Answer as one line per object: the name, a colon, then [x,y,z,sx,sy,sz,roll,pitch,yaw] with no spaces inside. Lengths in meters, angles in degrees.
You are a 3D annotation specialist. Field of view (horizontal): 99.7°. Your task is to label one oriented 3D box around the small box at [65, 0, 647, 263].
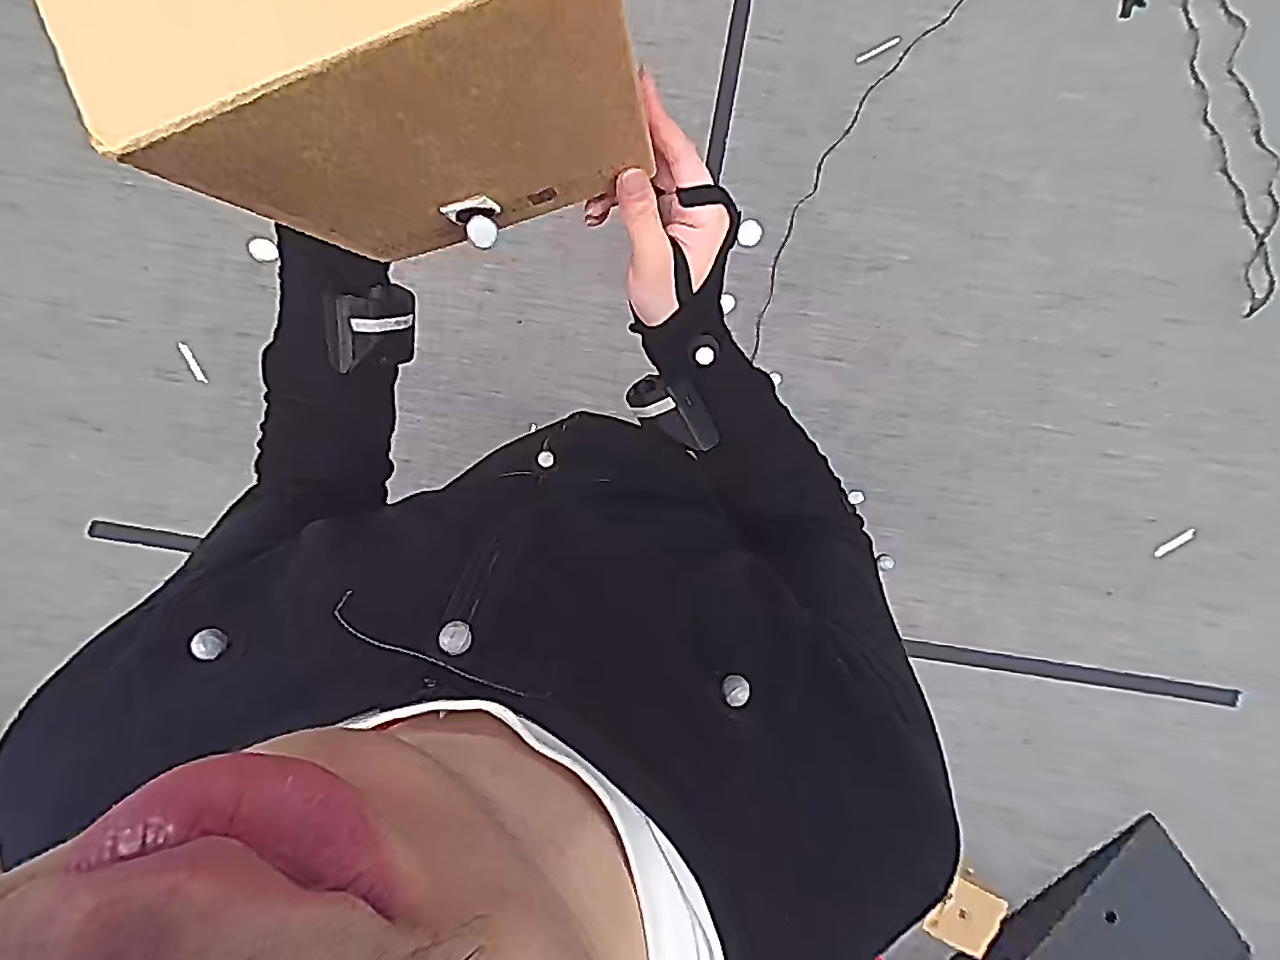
small box: [-0.102,-0.219,0.232,0.168,0.176,0.179,-16,98,9]
